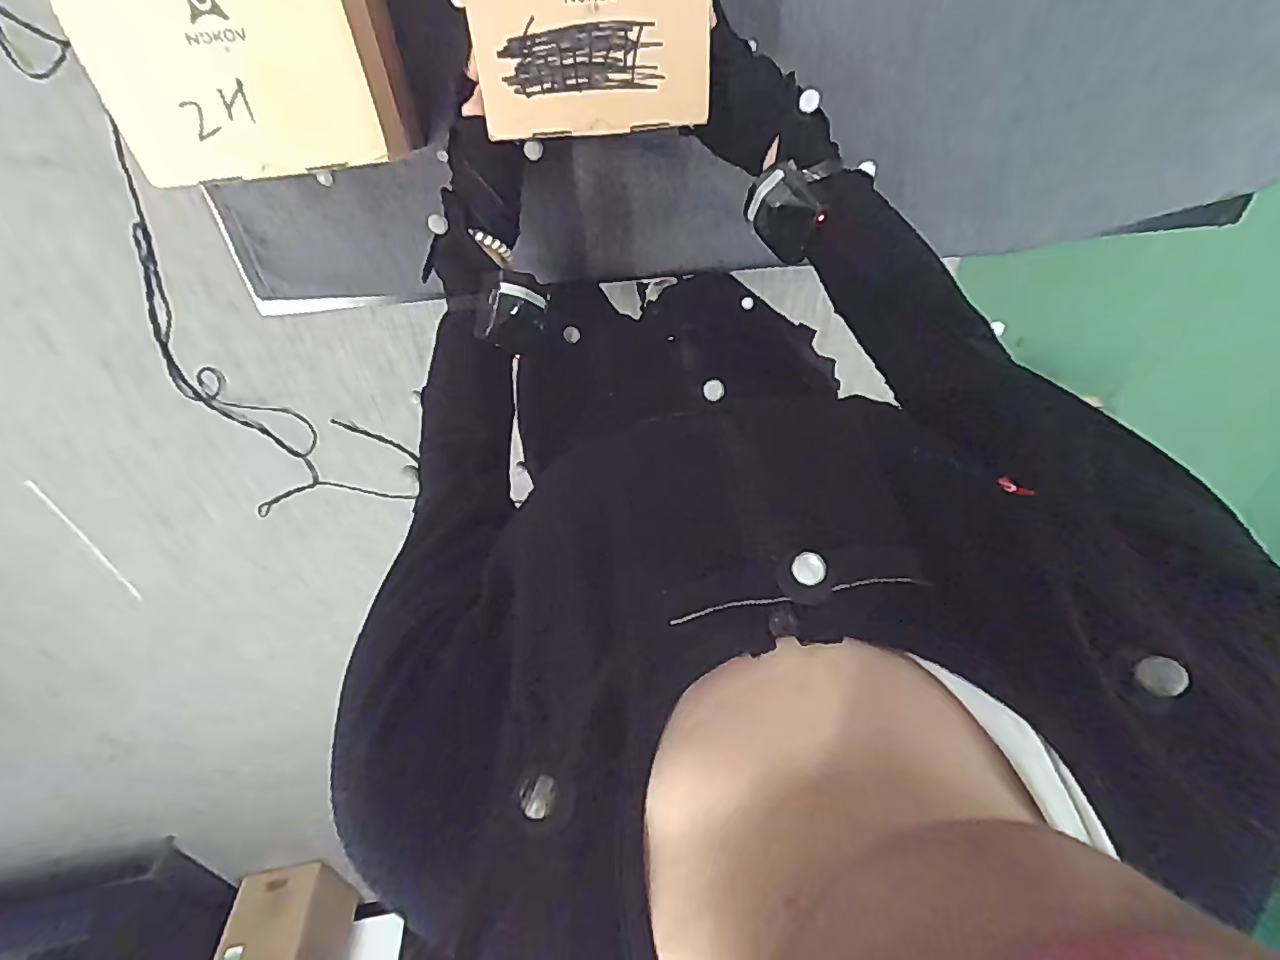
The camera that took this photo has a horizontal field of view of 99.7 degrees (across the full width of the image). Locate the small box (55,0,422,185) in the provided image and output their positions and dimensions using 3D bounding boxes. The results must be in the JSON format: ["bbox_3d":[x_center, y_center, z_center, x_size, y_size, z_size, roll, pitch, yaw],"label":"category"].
[{"bbox_3d":[-0.278,-0.331,0.398,0.168,0.176,0.179,-10,126,-5],"label":"small box"}]
